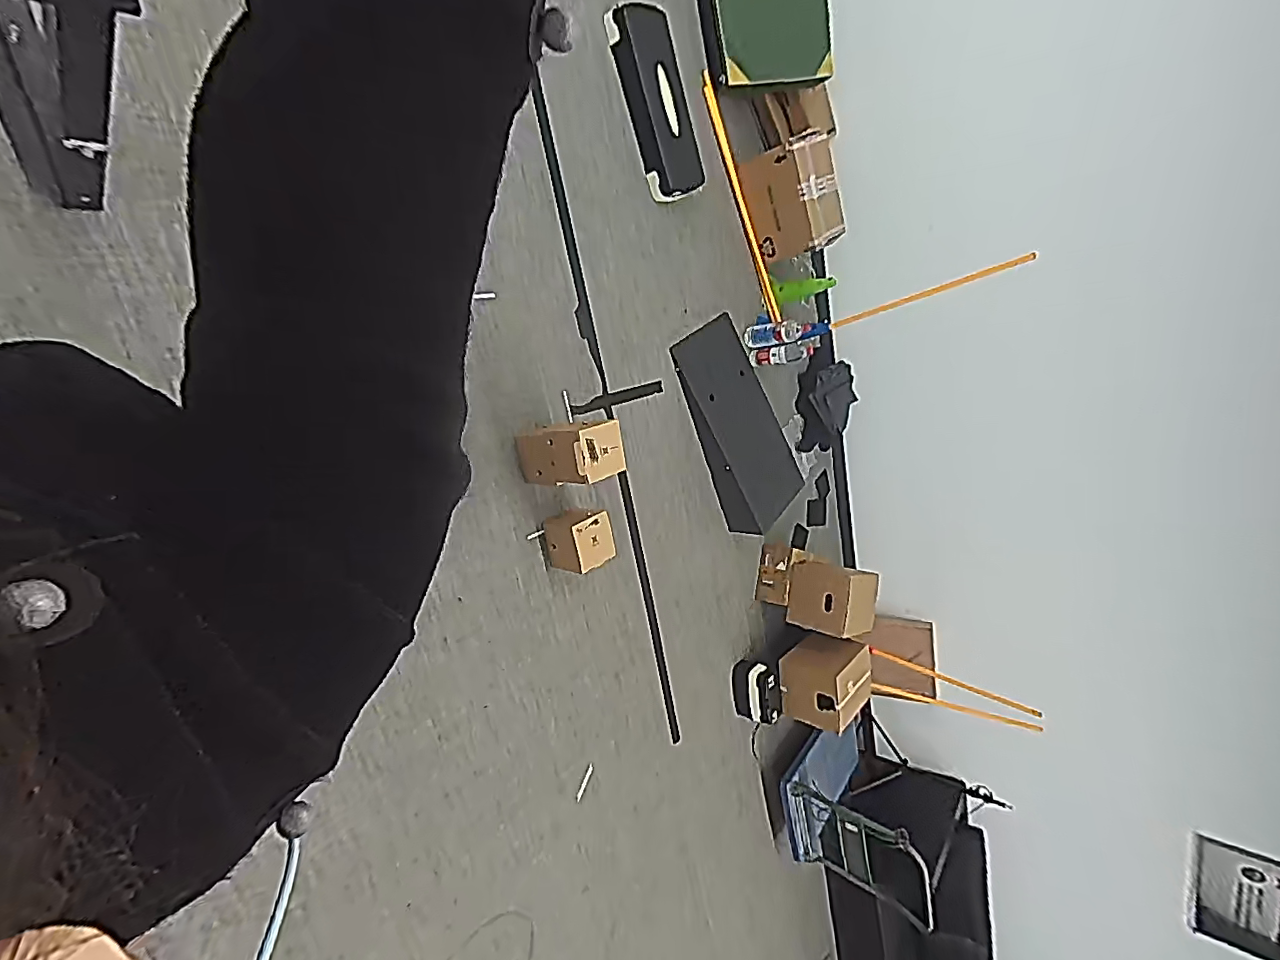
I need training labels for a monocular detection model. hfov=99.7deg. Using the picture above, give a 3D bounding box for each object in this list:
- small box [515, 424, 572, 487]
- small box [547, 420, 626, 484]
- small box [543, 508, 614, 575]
[{"bbox_3d":[-0.290,-0.088,1.809,0.168,0.176,0.179,-26,111,-43],"label":"small box"},{"bbox_3d":[-0.174,-0.090,1.693,0.179,0.176,0.168,-23,109,-45],"label":"small box"},{"bbox_3d":[-0.217,0.210,1.901,0.168,0.176,0.179,-25,110,-44],"label":"small box"}]
